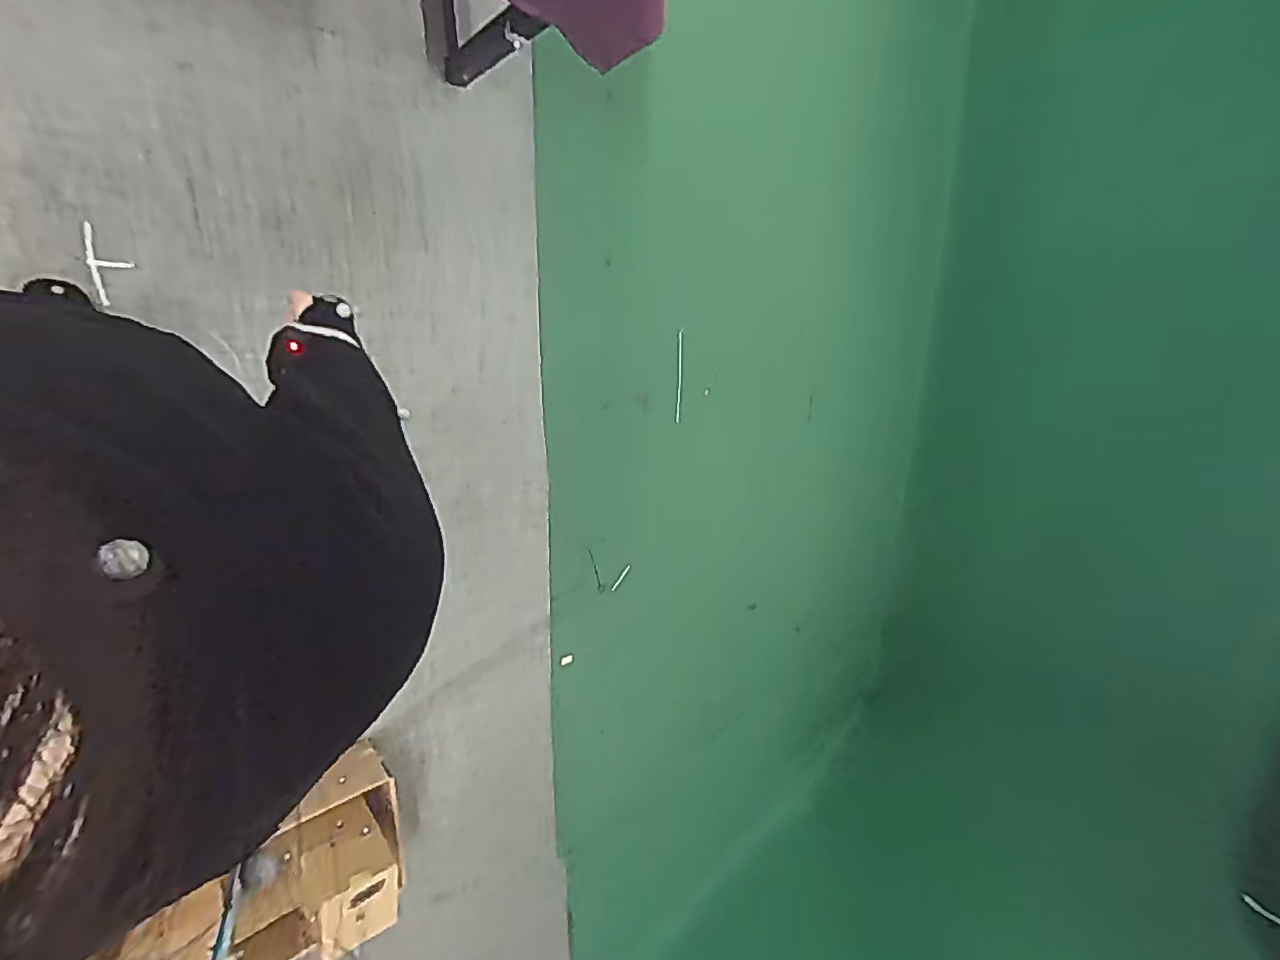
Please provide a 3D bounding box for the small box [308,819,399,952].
[{"bbox_3d":[-0.710,0.982,1.335,0.168,0.176,0.179,-4,106,-42],"label":"small box"}]
